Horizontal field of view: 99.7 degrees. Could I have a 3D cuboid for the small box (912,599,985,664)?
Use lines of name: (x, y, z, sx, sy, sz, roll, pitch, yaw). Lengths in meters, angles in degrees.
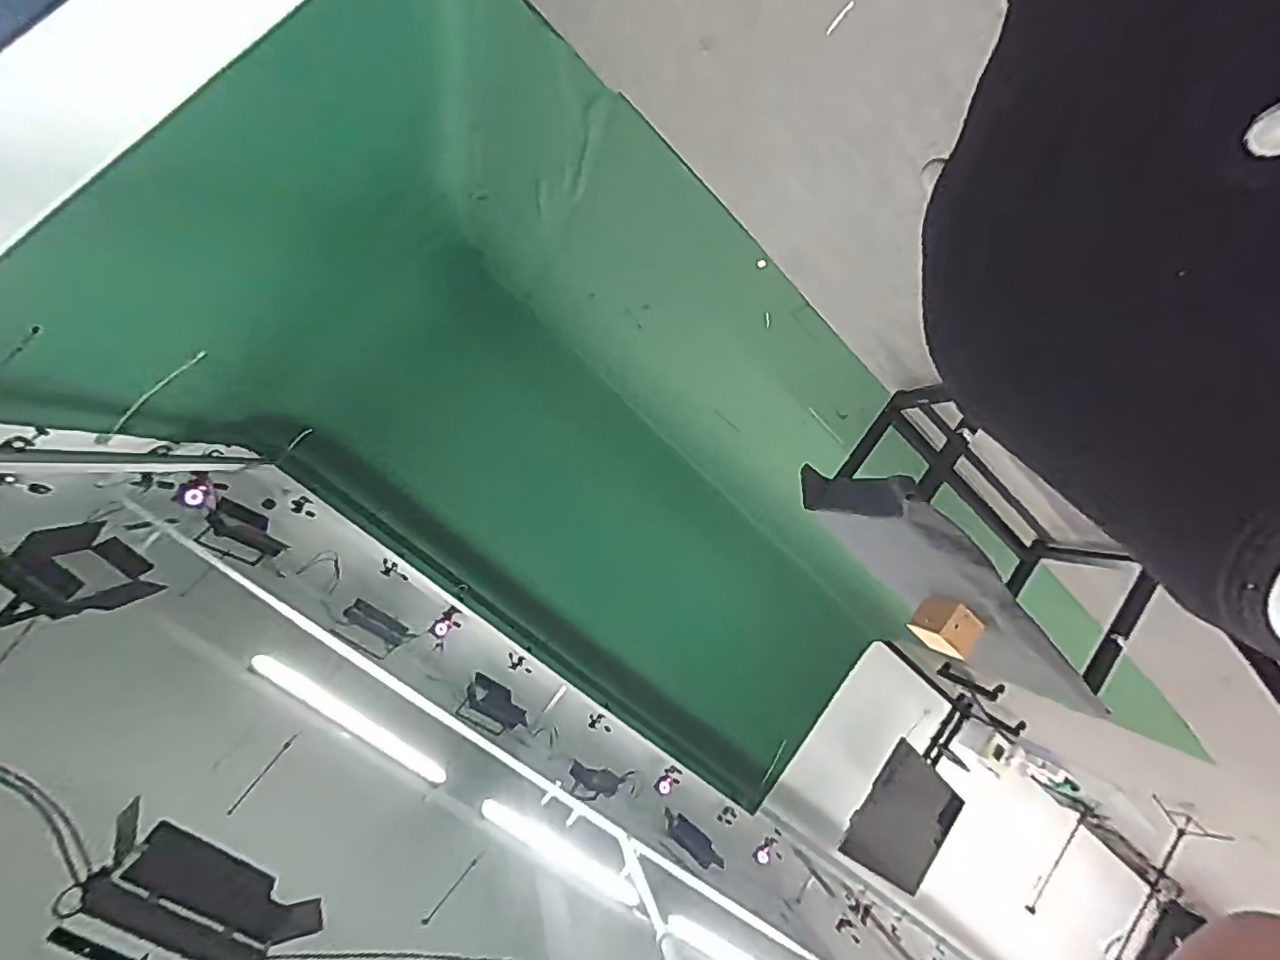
small box: (1.263, 0.608, 2.199, 0.168, 0.176, 0.179, 43, 170, -12)
